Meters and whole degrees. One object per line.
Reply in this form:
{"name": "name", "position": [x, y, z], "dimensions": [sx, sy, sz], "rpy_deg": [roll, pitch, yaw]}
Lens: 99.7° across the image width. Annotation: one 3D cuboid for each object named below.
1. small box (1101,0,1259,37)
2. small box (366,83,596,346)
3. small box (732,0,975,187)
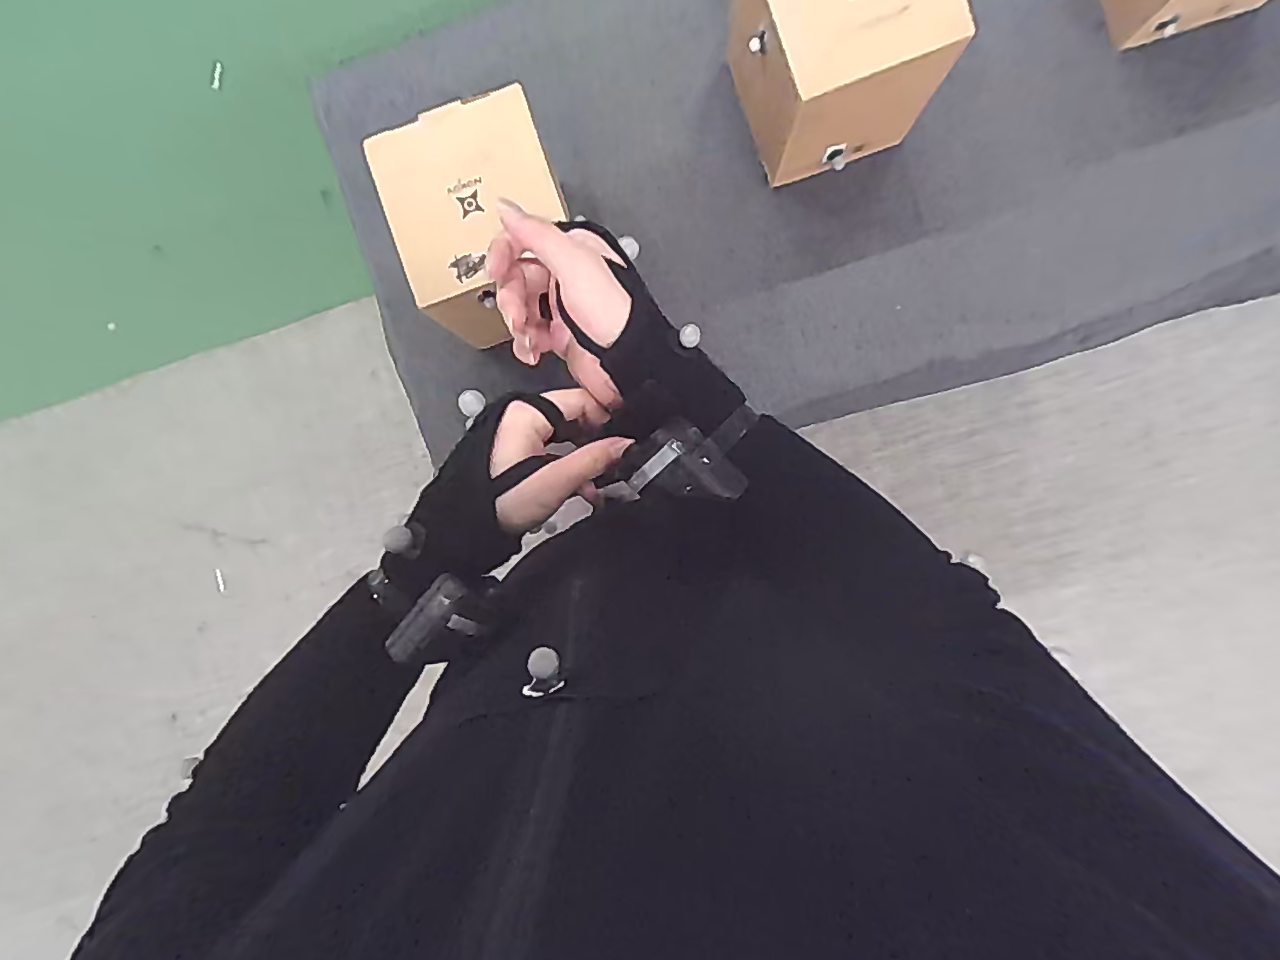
{"name": "small box", "position": [0.600, -0.598, 0.542], "dimensions": [0.168, 0.176, 0.179], "rpy_deg": [-16, 90, 4]}
{"name": "small box", "position": [-0.158, -0.271, 0.594], "dimensions": [0.168, 0.176, 0.179], "rpy_deg": [-19, 89, 4]}
{"name": "small box", "position": [0.205, -0.457, 0.573], "dimensions": [0.168, 0.176, 0.179], "rpy_deg": [-19, 91, 5]}
